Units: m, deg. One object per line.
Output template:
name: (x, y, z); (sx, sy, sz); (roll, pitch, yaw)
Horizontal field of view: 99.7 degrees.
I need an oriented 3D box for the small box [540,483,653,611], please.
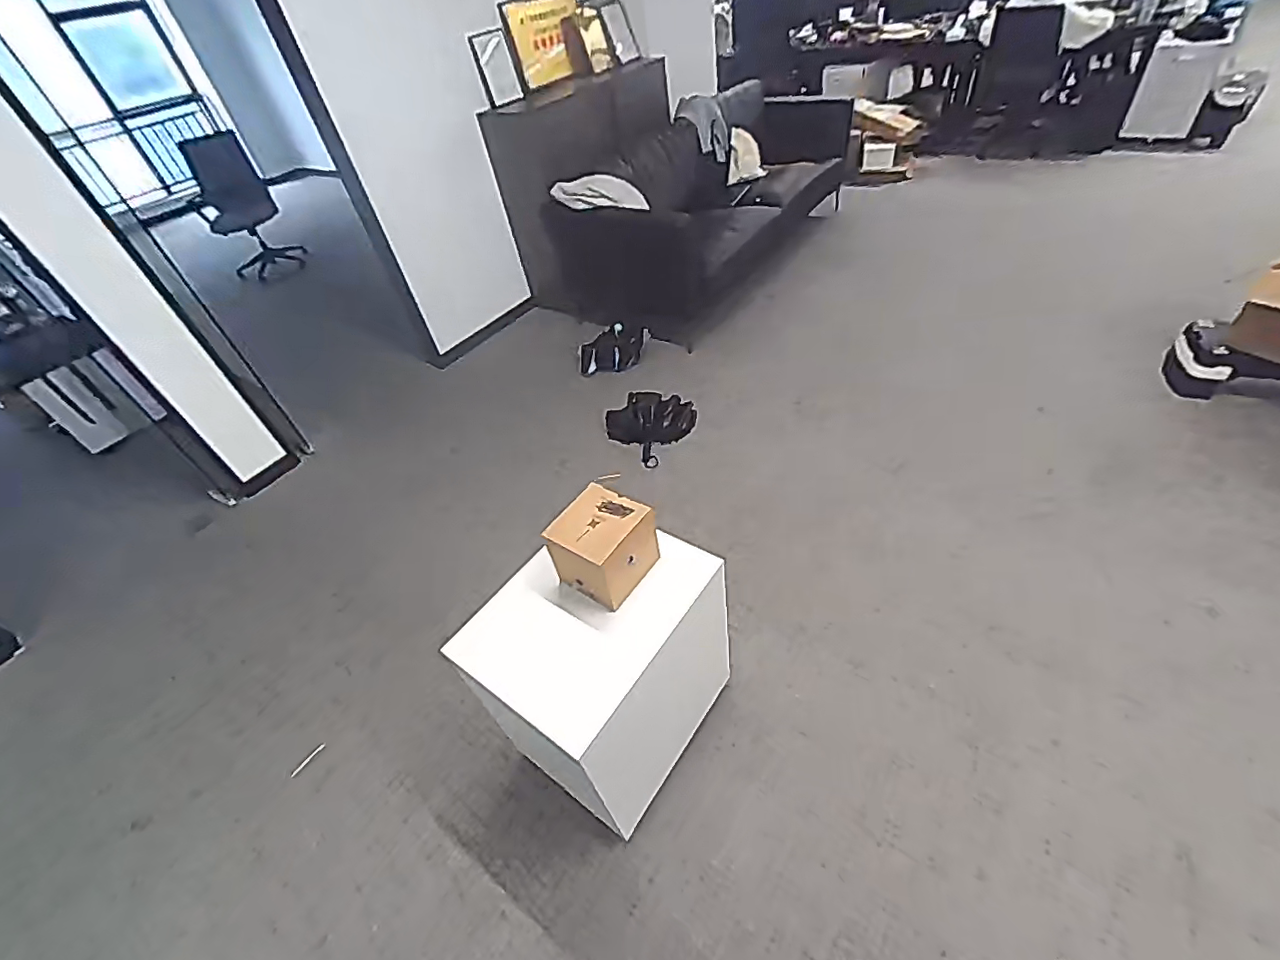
small box: (-0.084, 0.143, 1.162); (0.168, 0.176, 0.179); (23, 52, 30)
